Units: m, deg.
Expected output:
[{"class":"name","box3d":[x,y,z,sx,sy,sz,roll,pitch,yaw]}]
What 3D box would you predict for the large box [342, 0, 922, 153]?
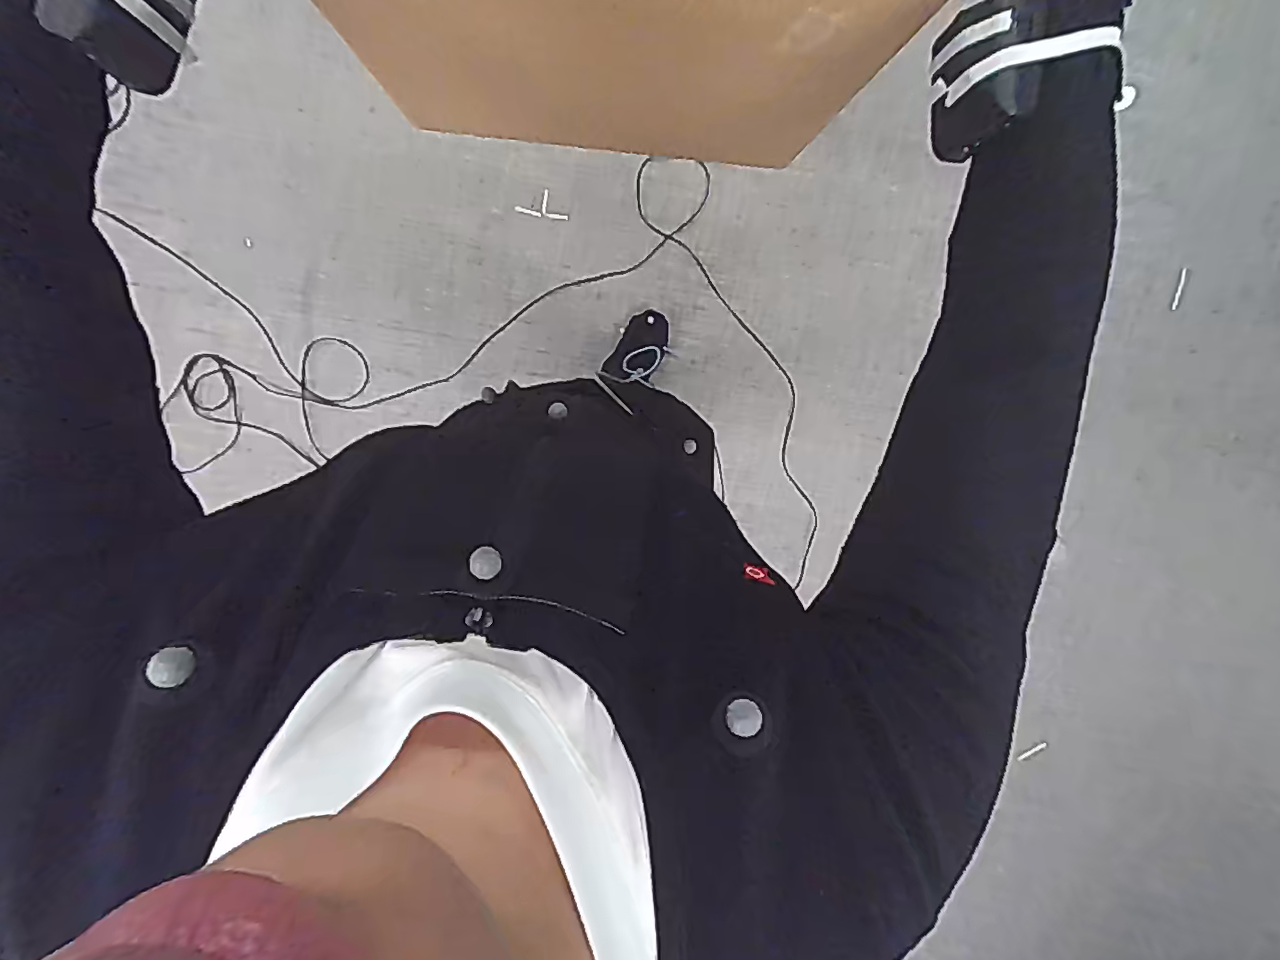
[{"class":"large box","box3d":[-0.013,-0.484,0.408,0.408,0.320,0.320,3,103,-6]}]
